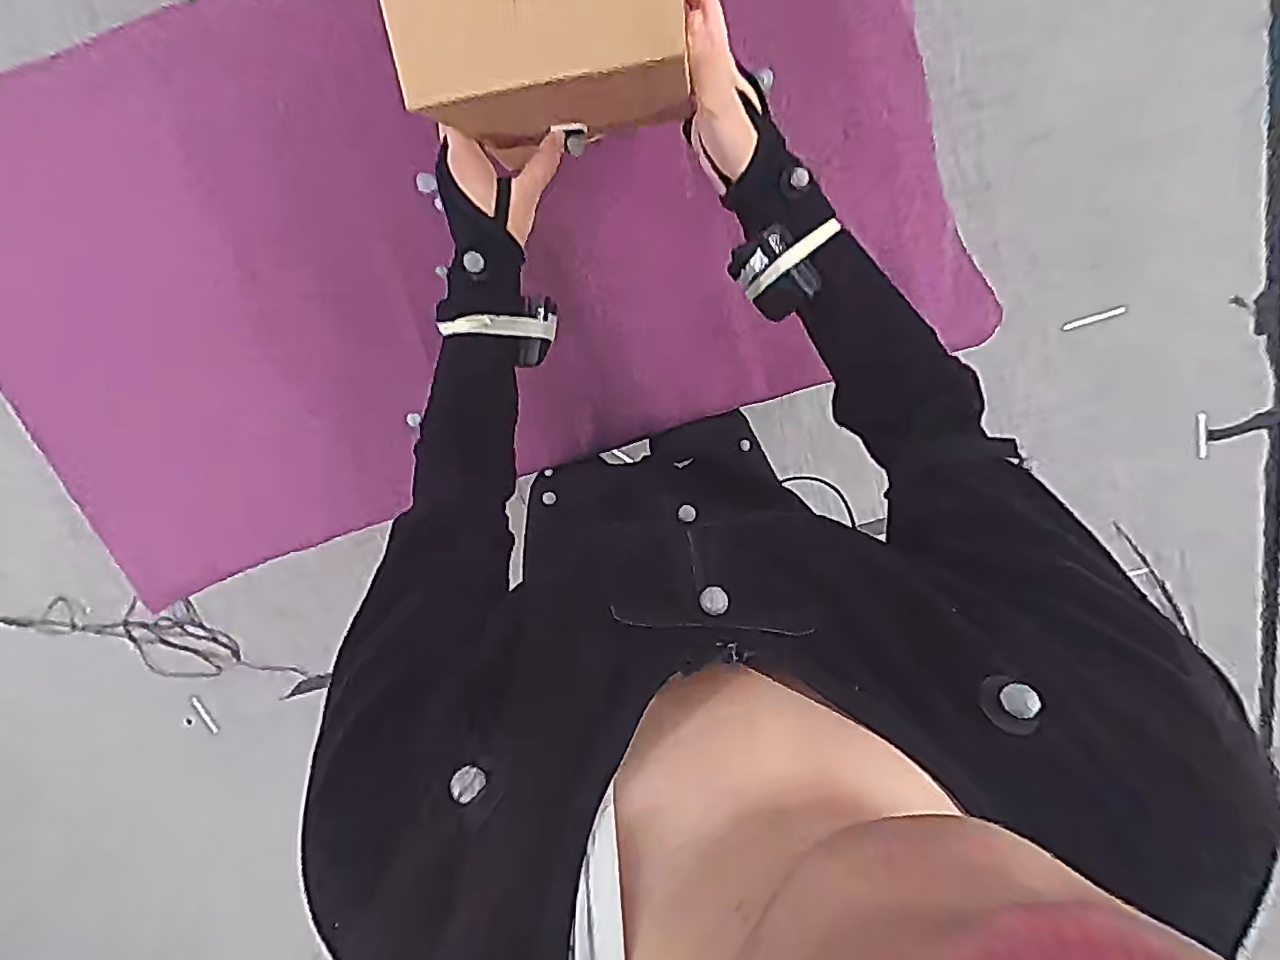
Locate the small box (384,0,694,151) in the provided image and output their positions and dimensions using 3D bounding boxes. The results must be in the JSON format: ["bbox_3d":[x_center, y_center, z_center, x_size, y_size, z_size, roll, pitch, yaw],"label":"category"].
[{"bbox_3d":[-0.053,-0.331,0.342,0.168,0.176,0.179,-3,113,9],"label":"small box"}]
